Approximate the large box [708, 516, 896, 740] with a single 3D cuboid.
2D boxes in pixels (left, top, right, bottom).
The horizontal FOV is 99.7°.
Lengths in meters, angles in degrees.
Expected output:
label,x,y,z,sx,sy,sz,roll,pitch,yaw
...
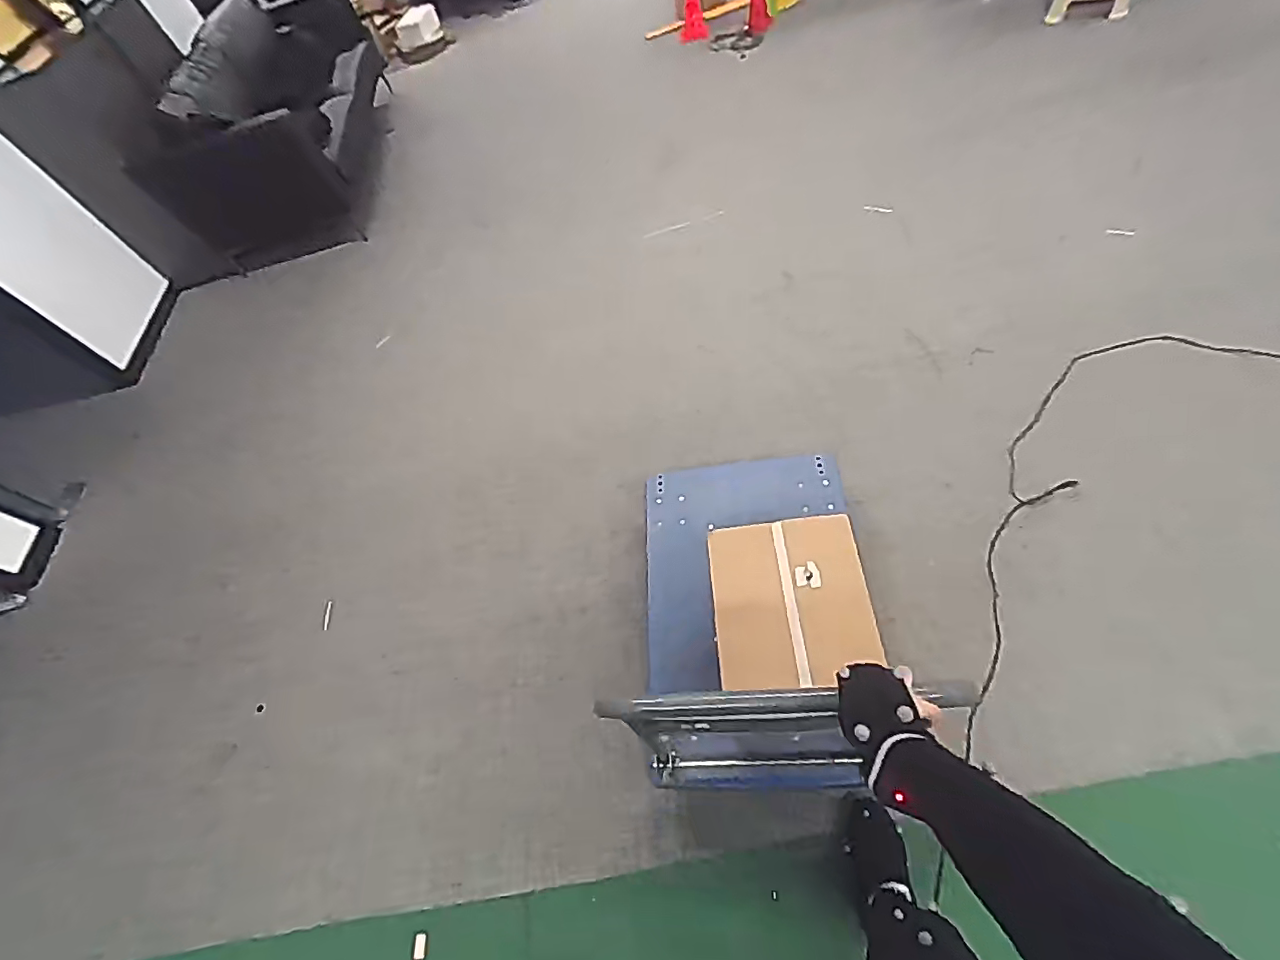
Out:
label,x,y,z,sx,sy,sz,roll,pitch,yaw
large box,0.342,0.344,1.228,0.320,0.320,0.408,-7,56,9
